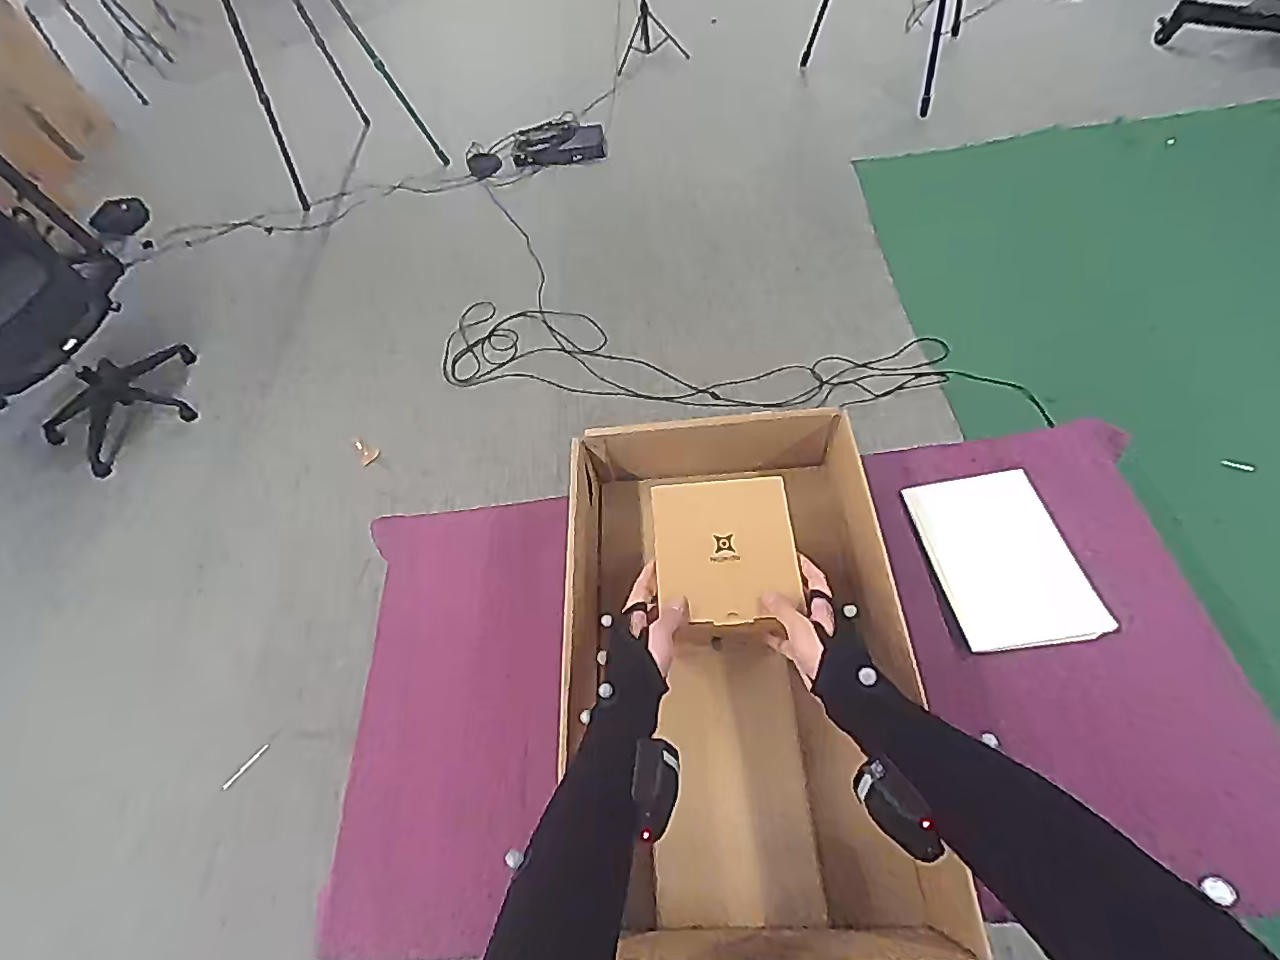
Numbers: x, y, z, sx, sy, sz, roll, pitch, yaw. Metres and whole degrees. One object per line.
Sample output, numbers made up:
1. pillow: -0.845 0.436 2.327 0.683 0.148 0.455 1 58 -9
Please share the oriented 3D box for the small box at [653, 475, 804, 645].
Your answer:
1. small box: 0.103 0.111 0.710 0.168 0.176 0.179 -4 64 3
